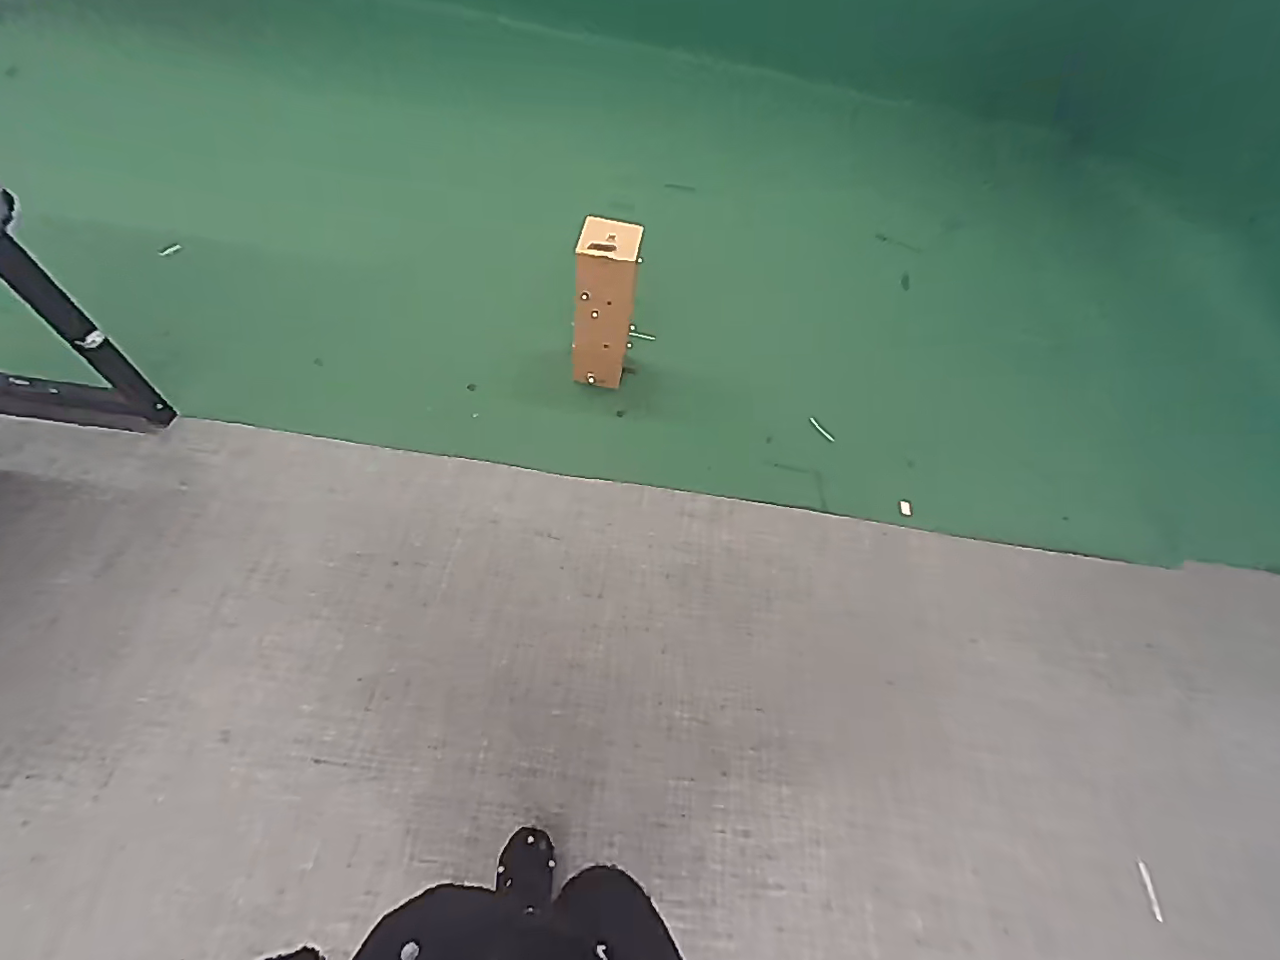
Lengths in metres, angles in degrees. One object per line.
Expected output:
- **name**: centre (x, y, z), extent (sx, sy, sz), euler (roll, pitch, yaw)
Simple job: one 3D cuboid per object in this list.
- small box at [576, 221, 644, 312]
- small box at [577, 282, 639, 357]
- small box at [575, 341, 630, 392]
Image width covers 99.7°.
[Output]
- **small box**: centre (-0.089, -0.616, 1.574), extent (0.168, 0.176, 0.179), euler (11, 56, -1)
- **small box**: centre (-0.105, -0.521, 1.708), extent (0.168, 0.176, 0.179), euler (10, 56, 0)
- **small box**: centre (-0.127, -0.430, 1.842), extent (0.168, 0.176, 0.179), euler (9, 58, -1)
